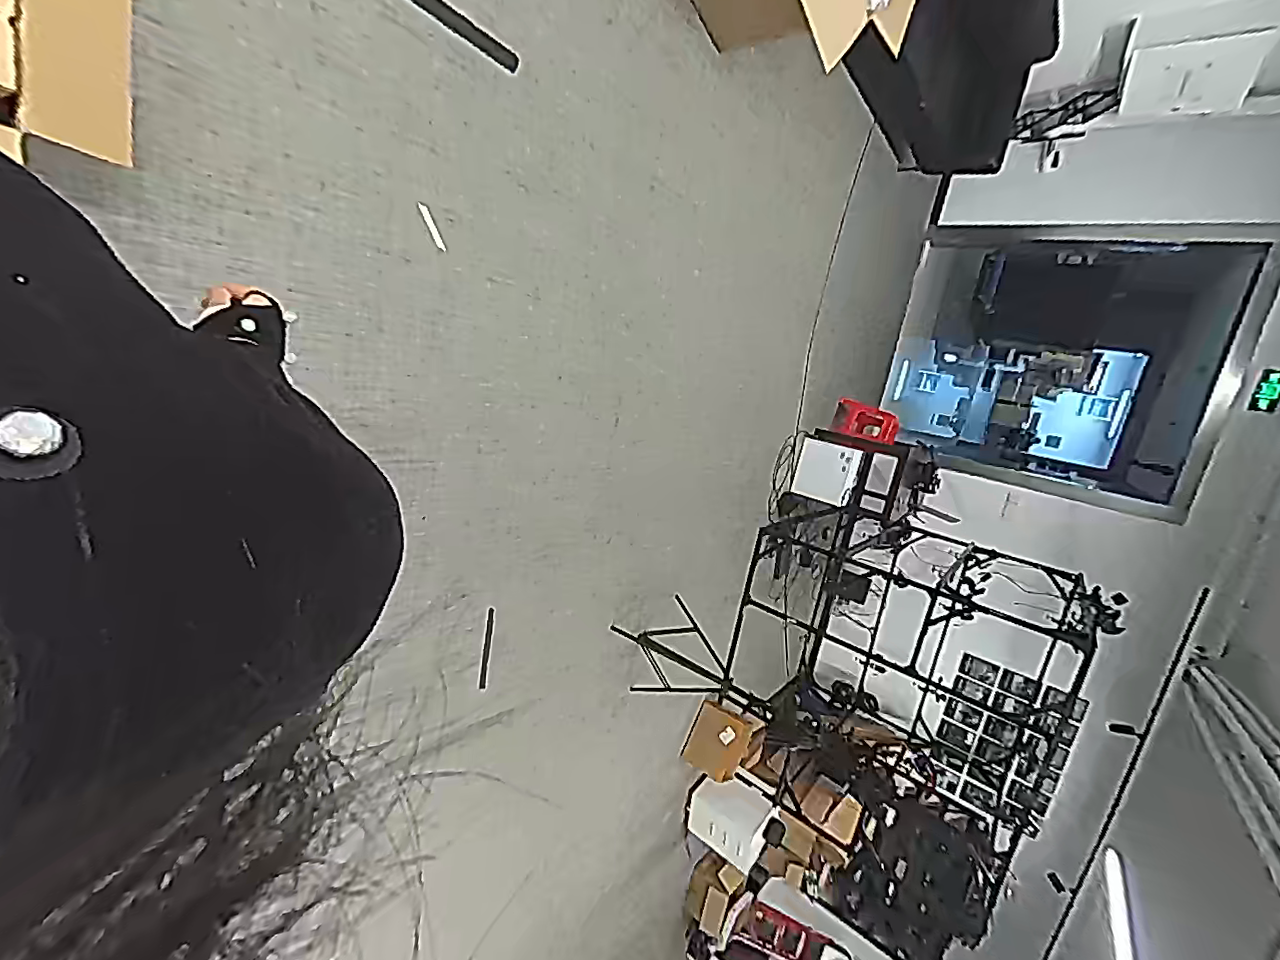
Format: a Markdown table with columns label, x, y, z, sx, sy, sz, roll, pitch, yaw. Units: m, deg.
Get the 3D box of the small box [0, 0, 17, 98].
| label | x | y | z | sx | sy | sz | roll | pitch | yaw |
| --- | --- | --- | --- | --- | --- | --- | --- | --- | --- |
| small box | -0.924 | -0.605 | 0.671 | 0.179 | 0.176 | 0.168 | -3 | 106 | -57 |
